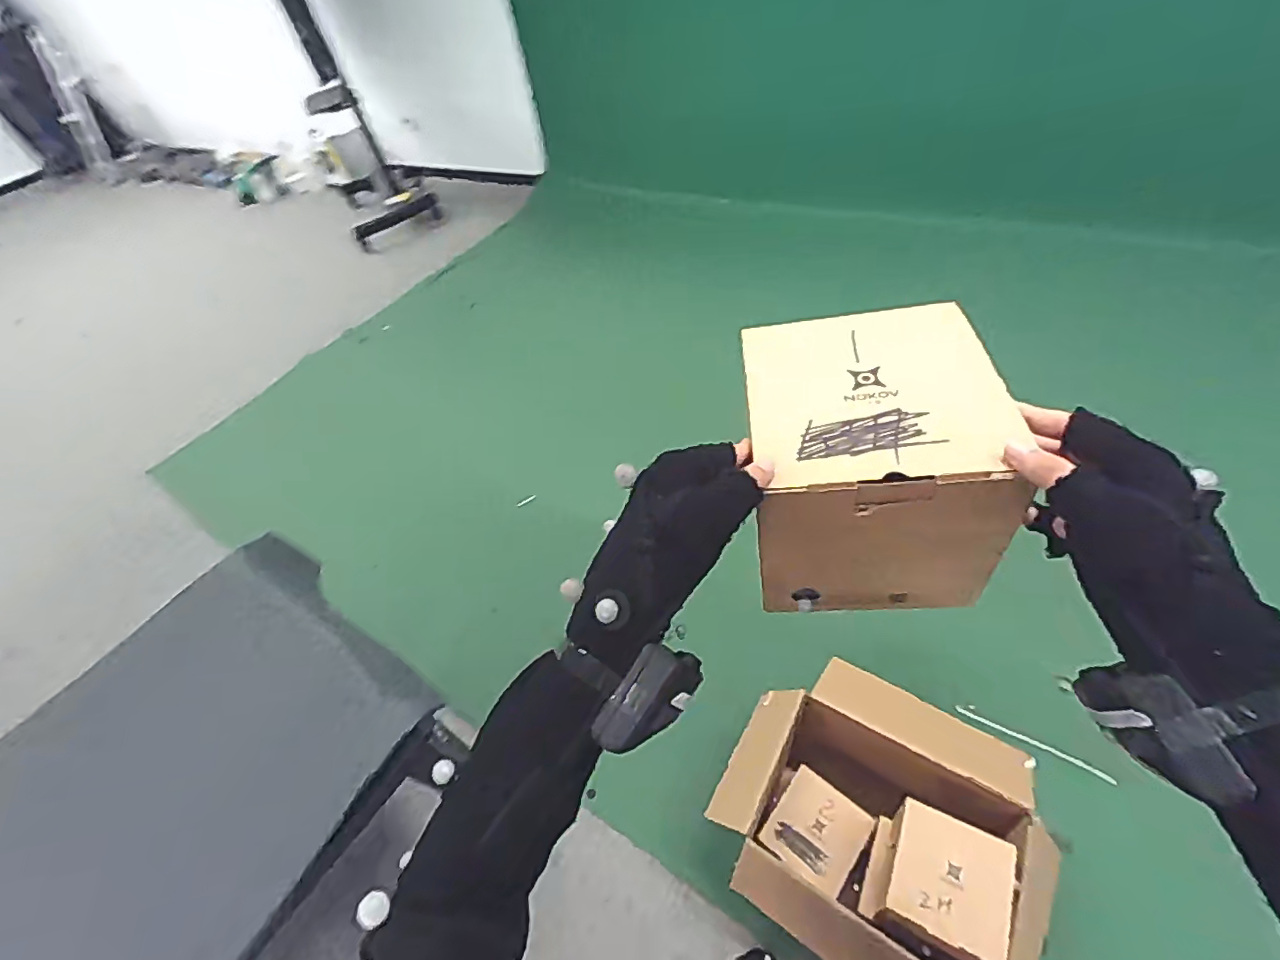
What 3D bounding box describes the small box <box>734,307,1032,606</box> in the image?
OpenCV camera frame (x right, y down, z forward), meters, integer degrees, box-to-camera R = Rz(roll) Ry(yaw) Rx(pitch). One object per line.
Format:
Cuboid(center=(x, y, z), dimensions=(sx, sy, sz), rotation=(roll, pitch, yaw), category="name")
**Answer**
Cuboid(center=(0.169, -0.009, 0.437), dimensions=(0.168, 0.176, 0.179), rotation=(-5, 48, 11), category="small box")
